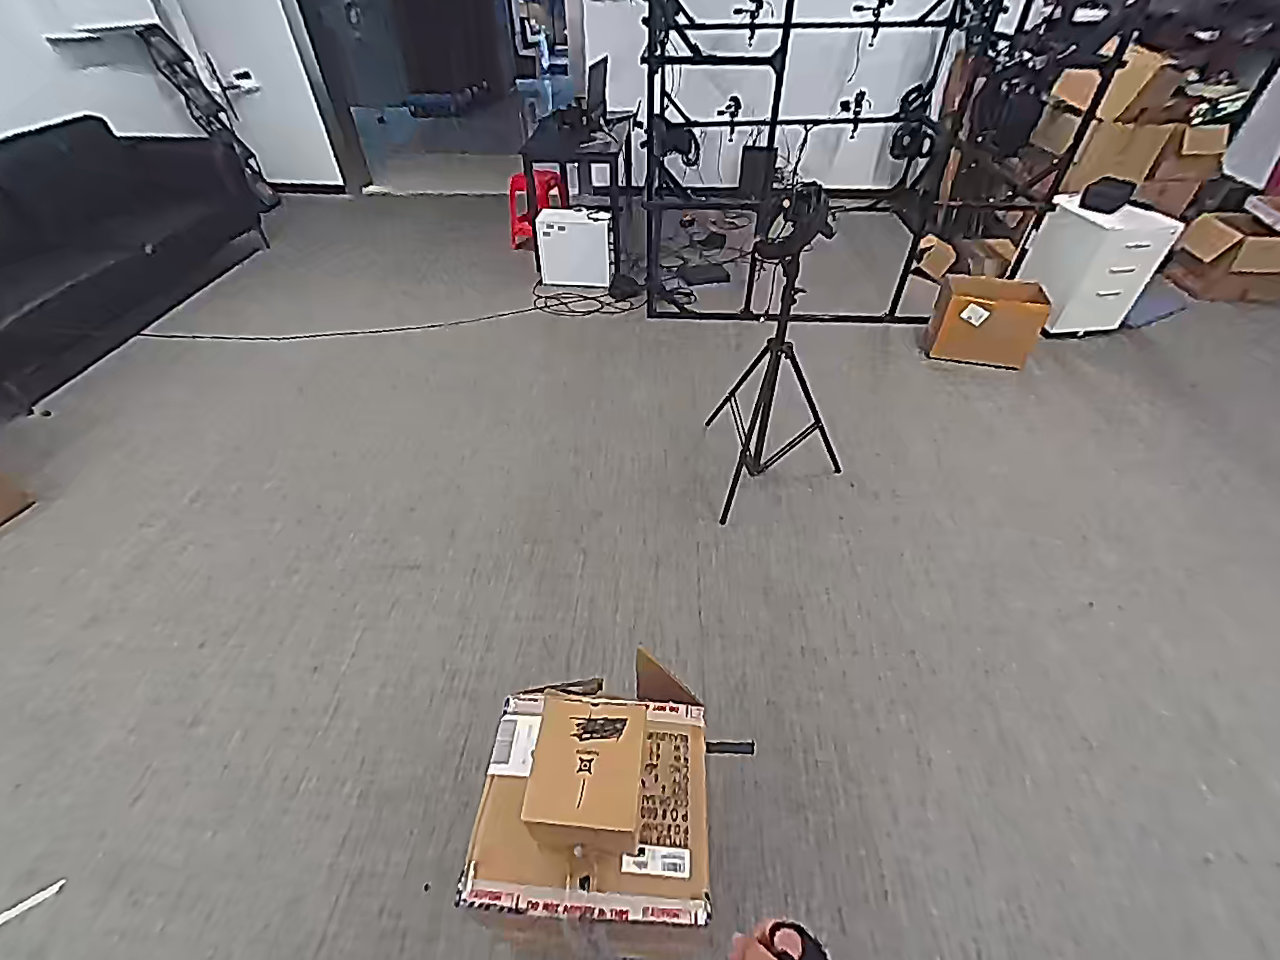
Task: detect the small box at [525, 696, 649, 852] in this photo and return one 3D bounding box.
[{"bbox_3d":[-0.075,0.474,0.873,0.168,0.176,0.179,3,47,4],"label":"small box"}]
